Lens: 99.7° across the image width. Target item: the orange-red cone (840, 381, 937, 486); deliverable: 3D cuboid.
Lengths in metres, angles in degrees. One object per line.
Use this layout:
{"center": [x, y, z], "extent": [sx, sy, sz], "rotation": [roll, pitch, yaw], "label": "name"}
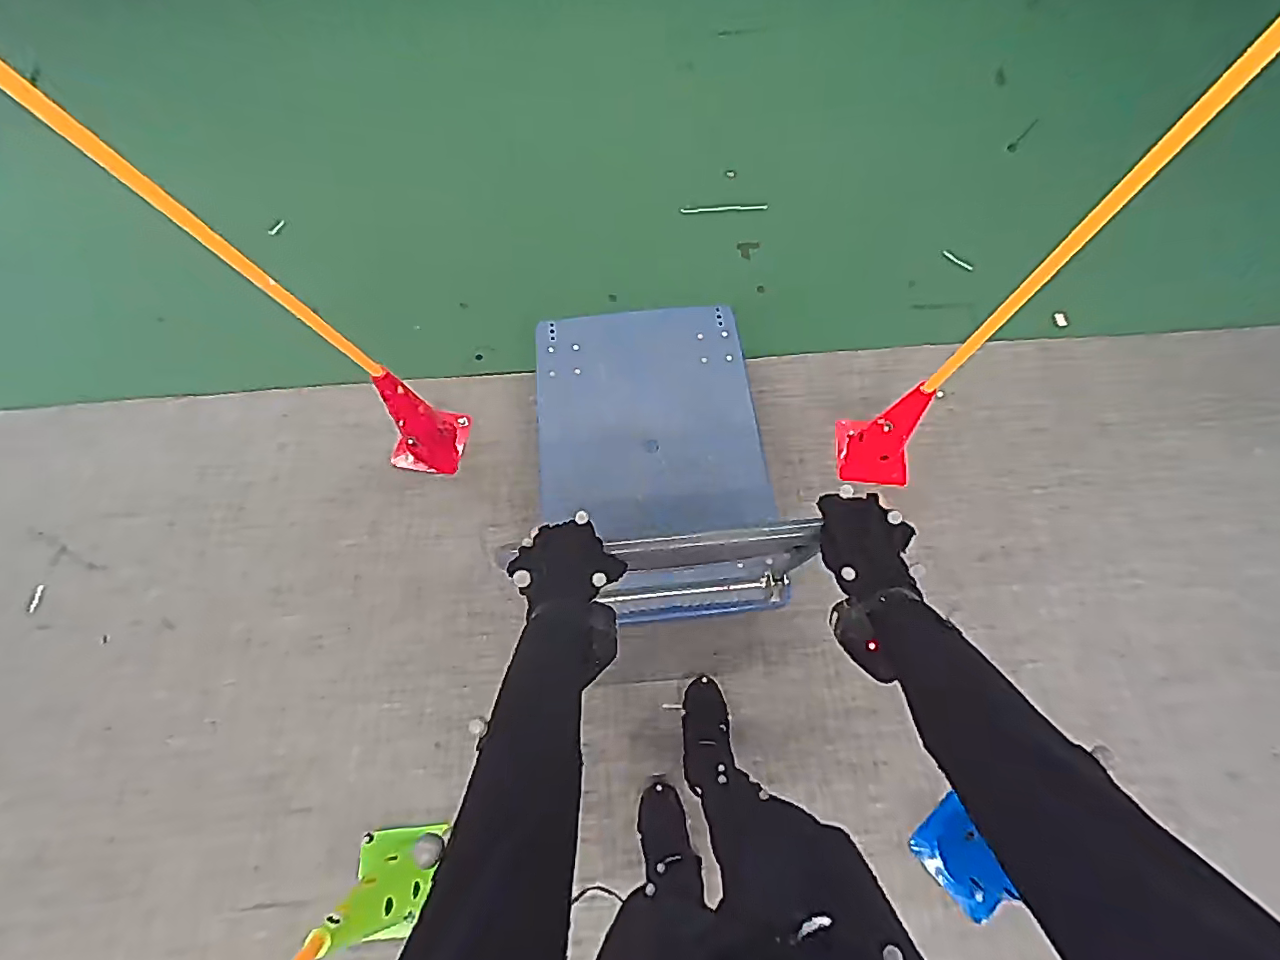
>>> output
{"center": [0.674, -0.145, 1.408], "extent": [0.198, 0.360, 0.199], "rotation": [6, 68, 4], "label": "orange-red cone"}
